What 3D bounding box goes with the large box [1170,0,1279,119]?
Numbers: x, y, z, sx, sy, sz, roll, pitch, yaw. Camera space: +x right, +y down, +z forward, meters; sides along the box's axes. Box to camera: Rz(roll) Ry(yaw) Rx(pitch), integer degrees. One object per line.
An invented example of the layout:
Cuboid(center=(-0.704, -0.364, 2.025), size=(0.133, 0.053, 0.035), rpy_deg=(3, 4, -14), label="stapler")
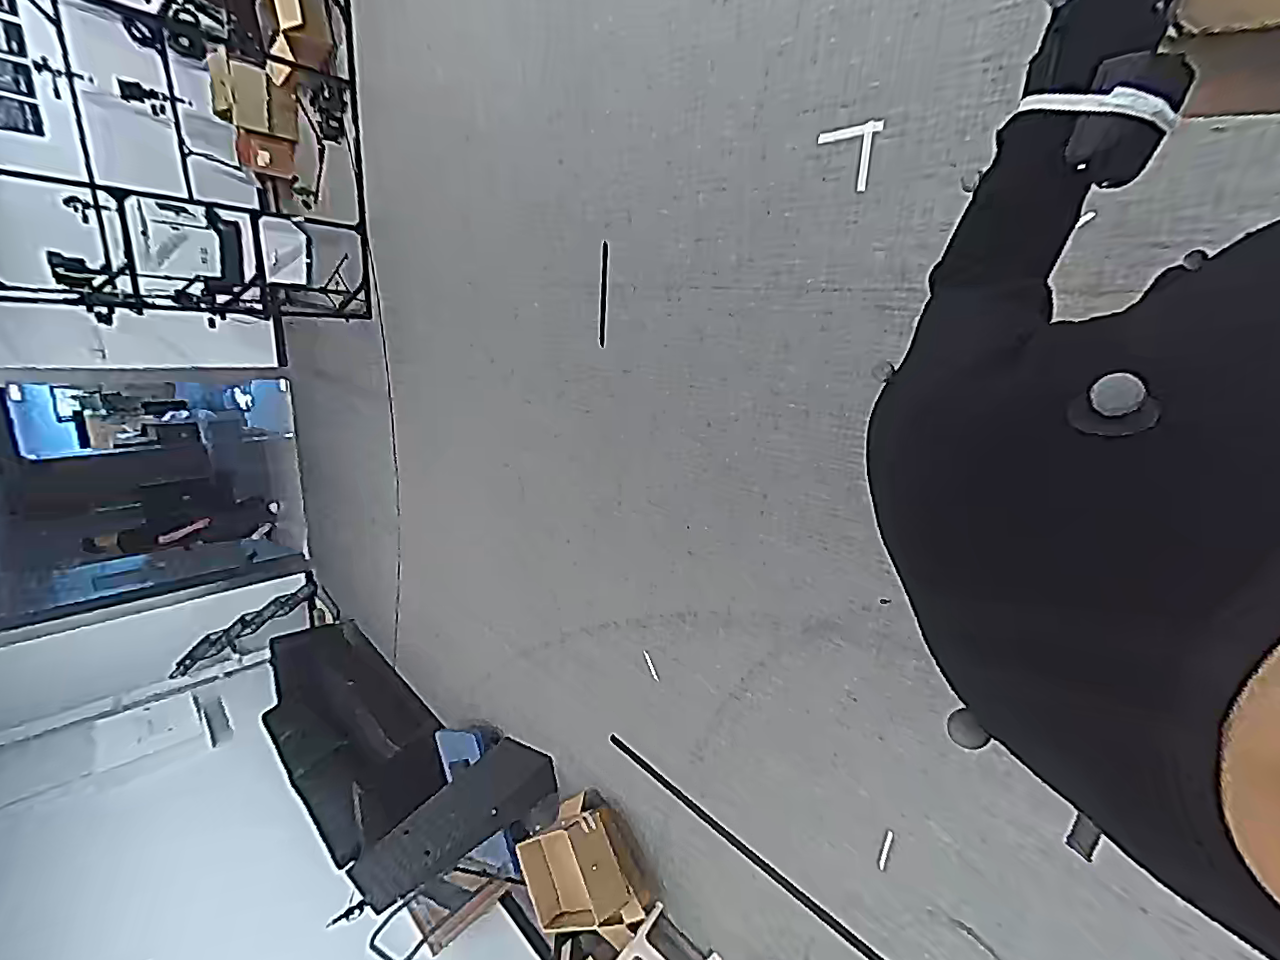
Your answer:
Cuboid(center=(0.601, -0.408, 0.276), size=(0.408, 0.320, 0.320), rpy_deg=(25, 124, 38), label="large box")
